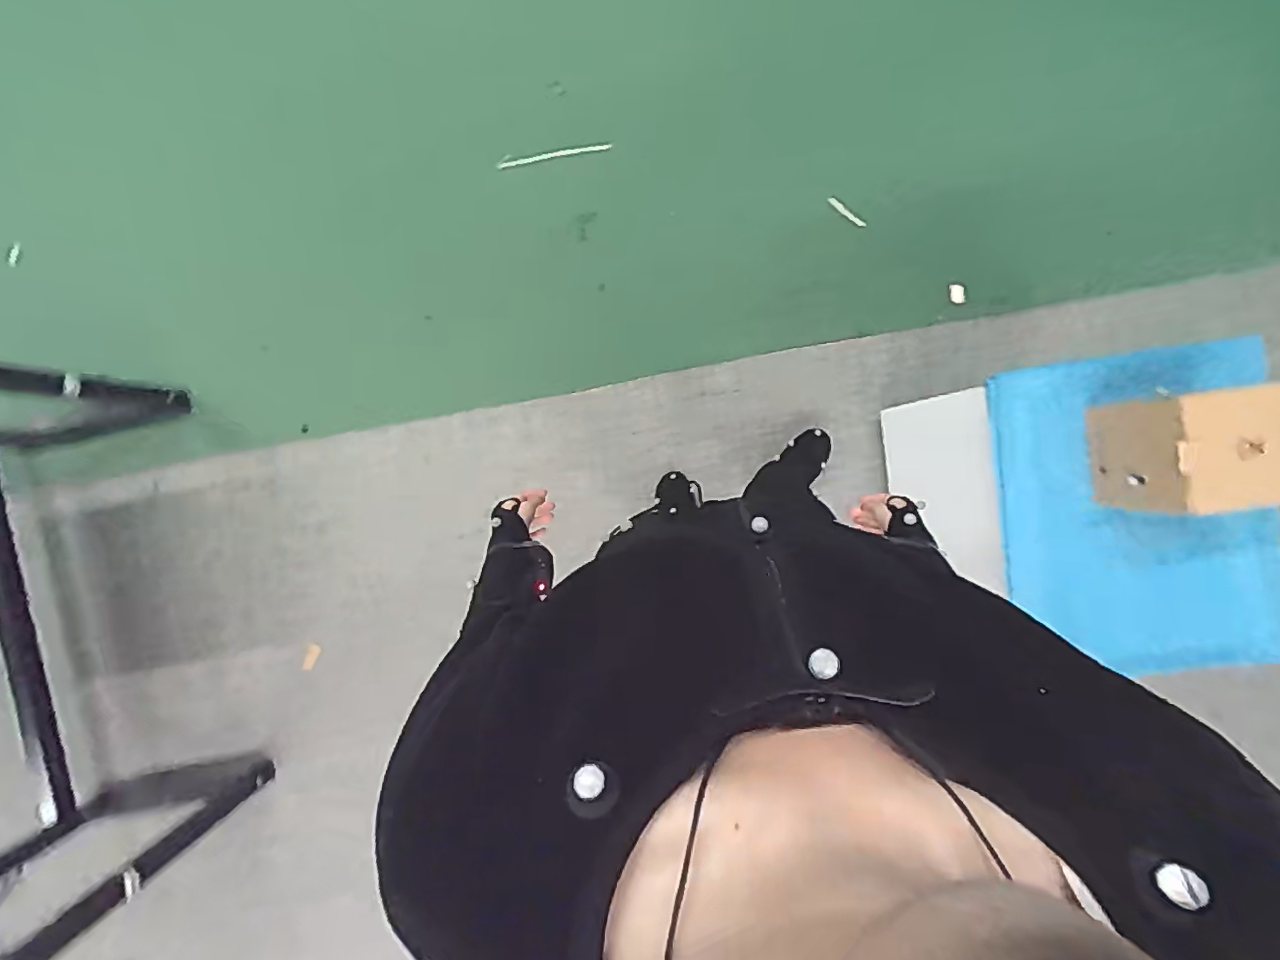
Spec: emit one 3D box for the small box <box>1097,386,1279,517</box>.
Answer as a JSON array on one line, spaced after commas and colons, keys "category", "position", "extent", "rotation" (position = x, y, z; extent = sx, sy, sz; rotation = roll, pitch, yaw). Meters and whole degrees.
[{"category": "small box", "position": [0.819, -0.042, 0.795], "extent": [0.179, 0.176, 0.168], "rotation": [-7, 93, 2]}]
